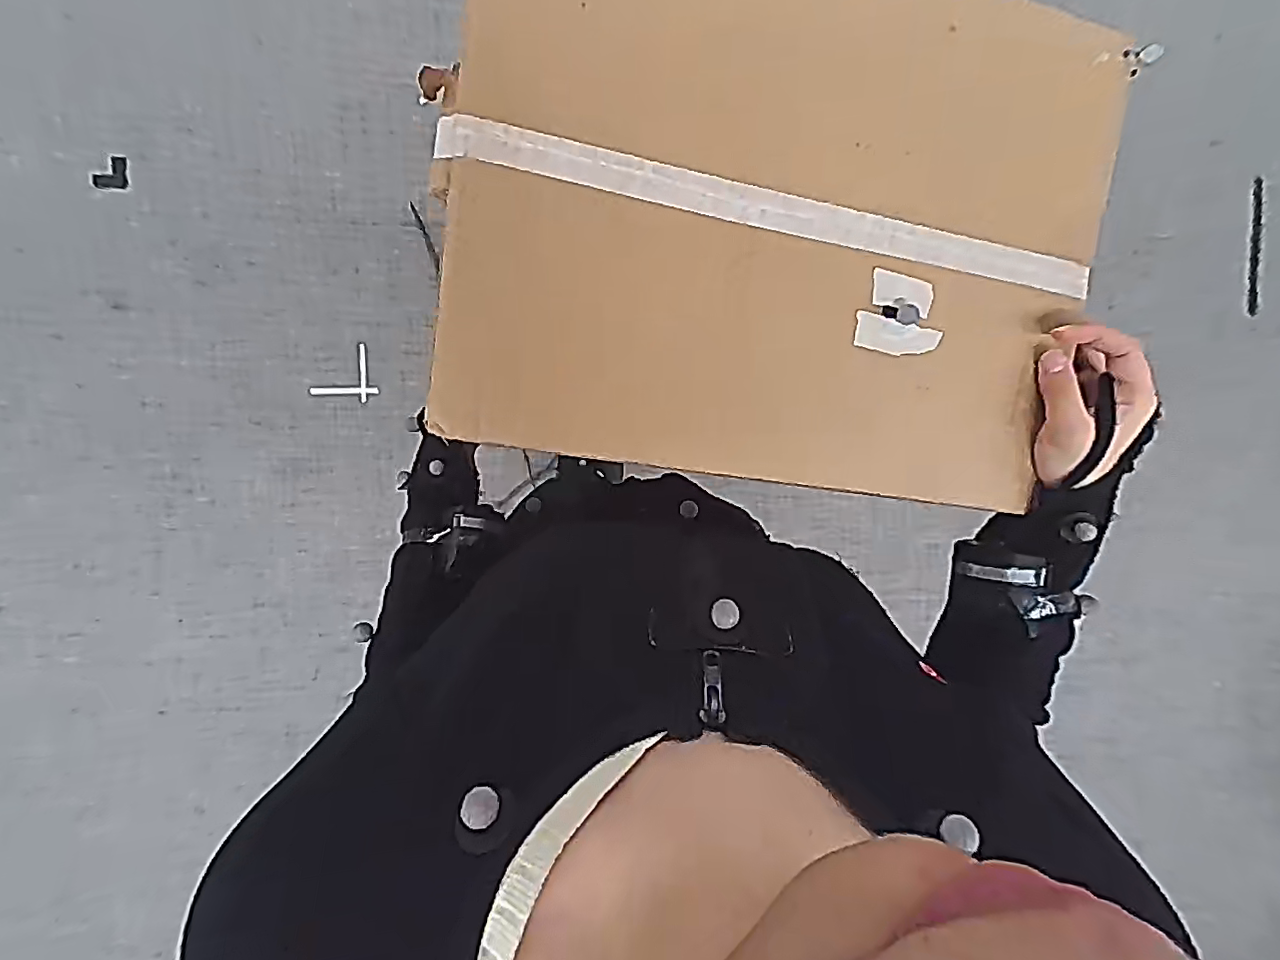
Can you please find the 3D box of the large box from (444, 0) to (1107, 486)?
[{"bbox_3d":[0.068,-0.183,0.473,0.408,0.320,0.320,7,97,-13],"label":"large box"}]
